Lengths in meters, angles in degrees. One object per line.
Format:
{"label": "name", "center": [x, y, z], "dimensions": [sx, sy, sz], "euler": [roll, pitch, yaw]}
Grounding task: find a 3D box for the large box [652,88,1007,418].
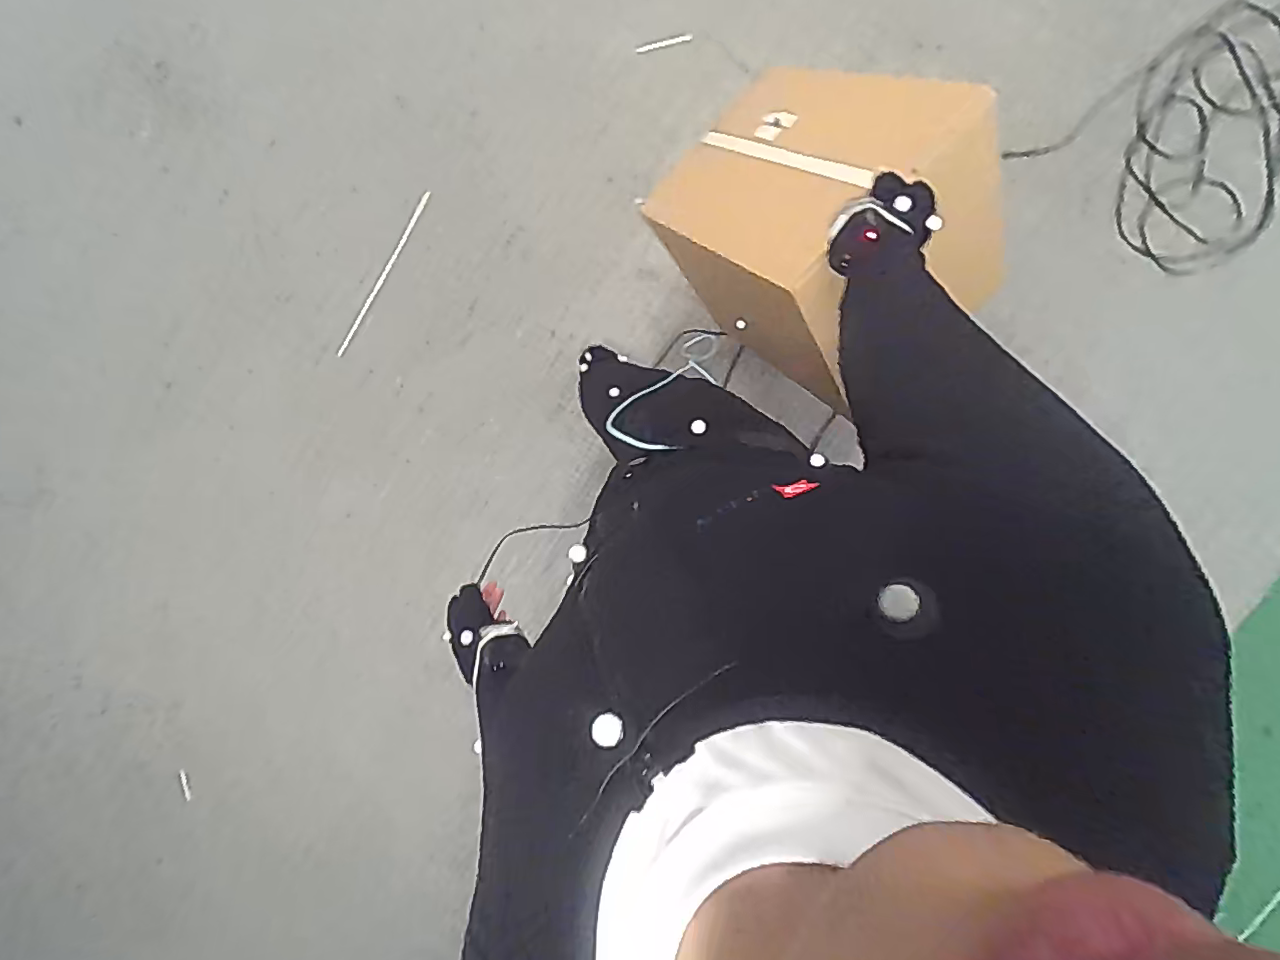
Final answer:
{"label": "large box", "center": [0.296, -0.373, 0.885], "dimensions": [0.320, 0.408, 0.320], "euler": [-43, 135, 6]}
